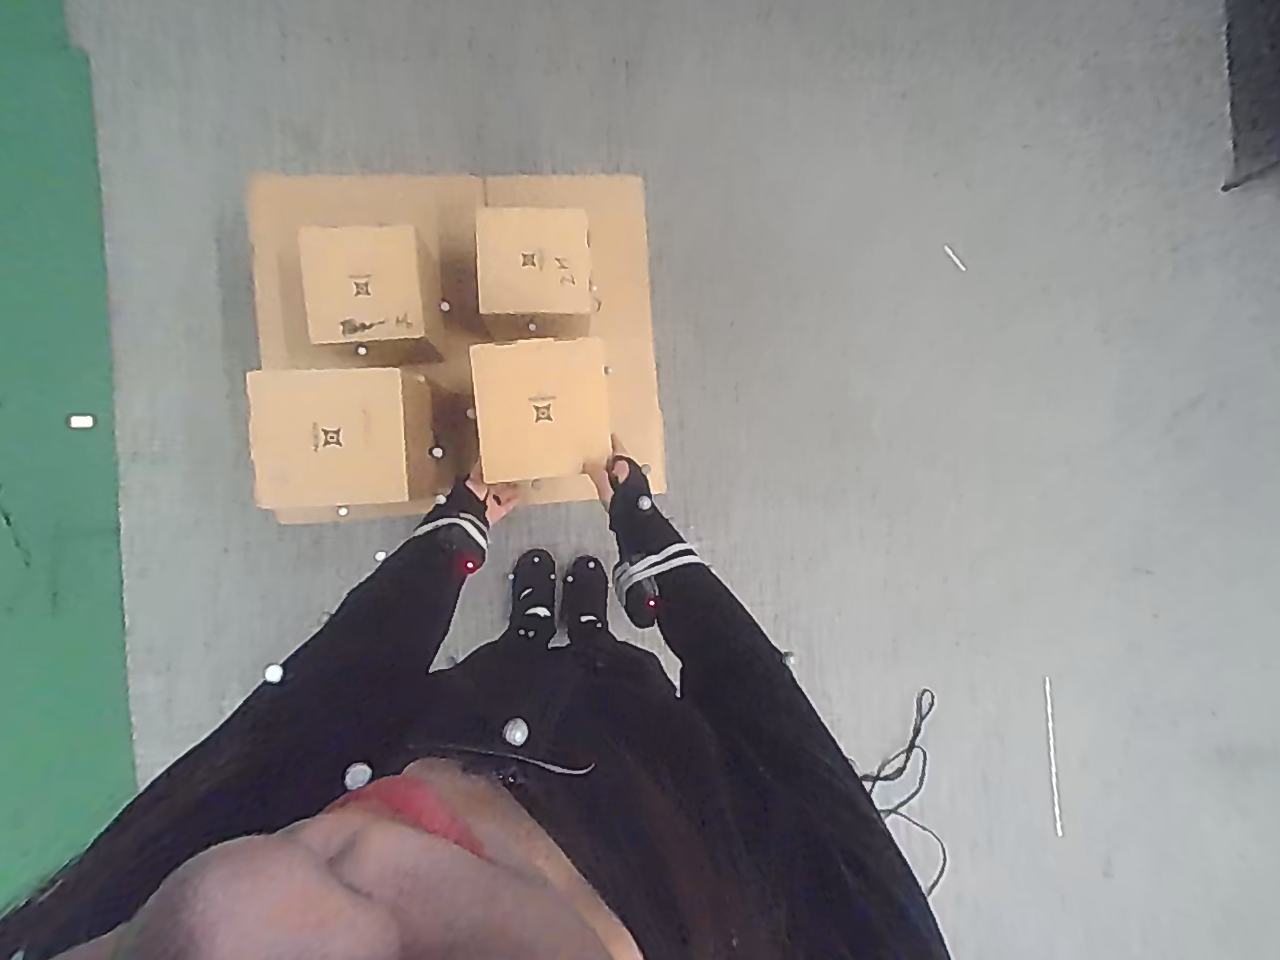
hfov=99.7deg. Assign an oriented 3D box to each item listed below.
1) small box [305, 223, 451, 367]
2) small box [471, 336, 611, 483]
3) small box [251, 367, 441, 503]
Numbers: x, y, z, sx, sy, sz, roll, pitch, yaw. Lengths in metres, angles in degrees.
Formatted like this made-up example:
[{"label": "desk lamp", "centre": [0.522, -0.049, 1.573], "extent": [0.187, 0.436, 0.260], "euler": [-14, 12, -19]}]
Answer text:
[{"label": "small box", "centre": [-0.417, -0.295, 0.886], "extent": [0.168, 0.176, 0.179], "euler": [-5, 90, -6]}, {"label": "small box", "centre": [-0.129, -0.091, 0.758], "extent": [0.168, 0.176, 0.179], "euler": [-6, 91, -6]}, {"label": "small box", "centre": [-0.381, -0.055, 0.728], "extent": [0.179, 0.176, 0.168], "euler": [-2, 92, -8]}]
